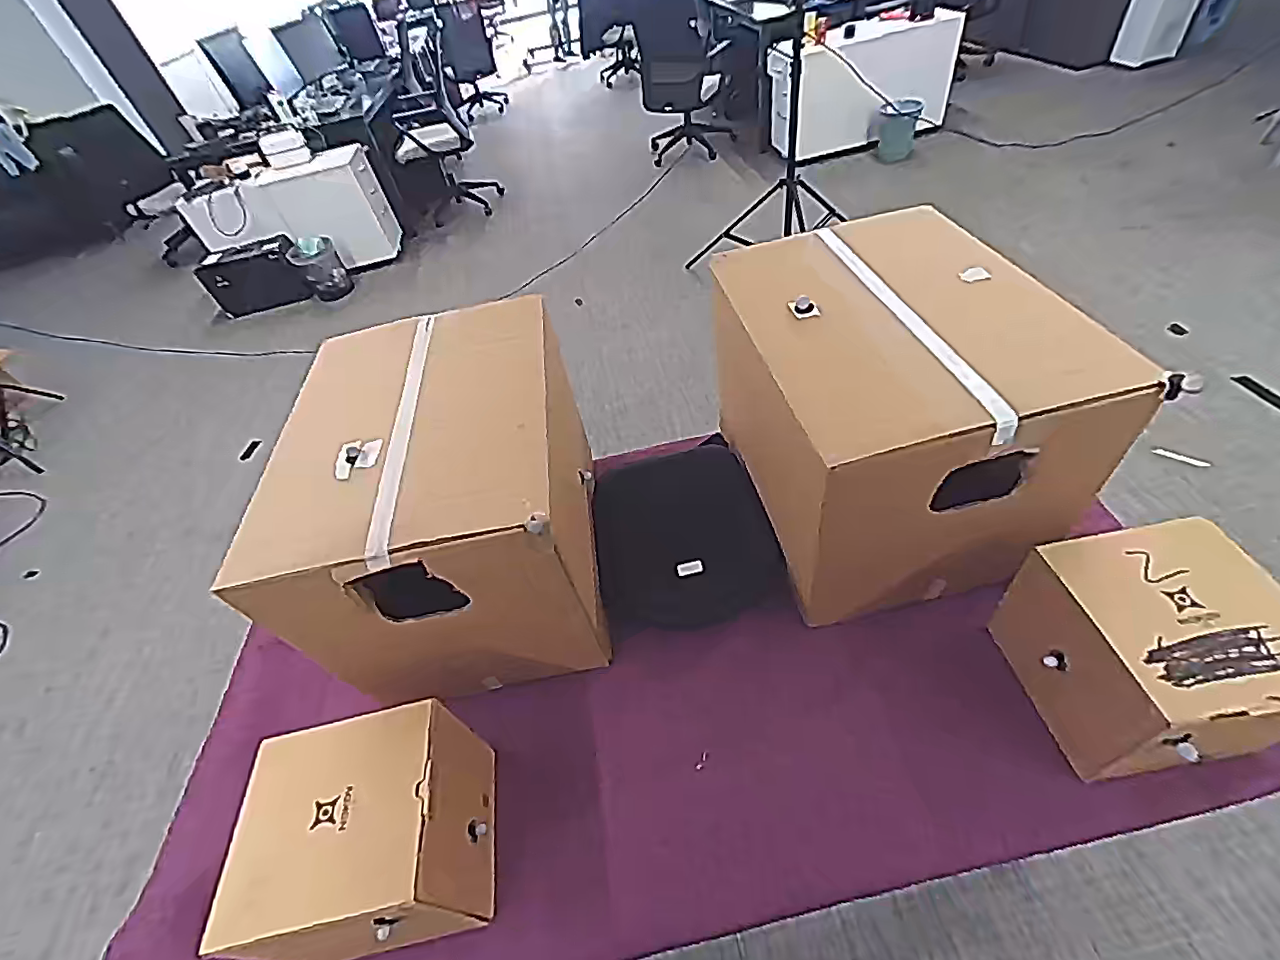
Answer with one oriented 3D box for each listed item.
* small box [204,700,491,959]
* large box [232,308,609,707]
[{"bbox_3d":[-0.265,0.352,0.542,0.179,0.176,0.168,-14,46,-1],"label":"small box"},{"bbox_3d":[-0.237,0.033,0.733,0.320,0.320,0.408,-13,49,1],"label":"large box"}]
